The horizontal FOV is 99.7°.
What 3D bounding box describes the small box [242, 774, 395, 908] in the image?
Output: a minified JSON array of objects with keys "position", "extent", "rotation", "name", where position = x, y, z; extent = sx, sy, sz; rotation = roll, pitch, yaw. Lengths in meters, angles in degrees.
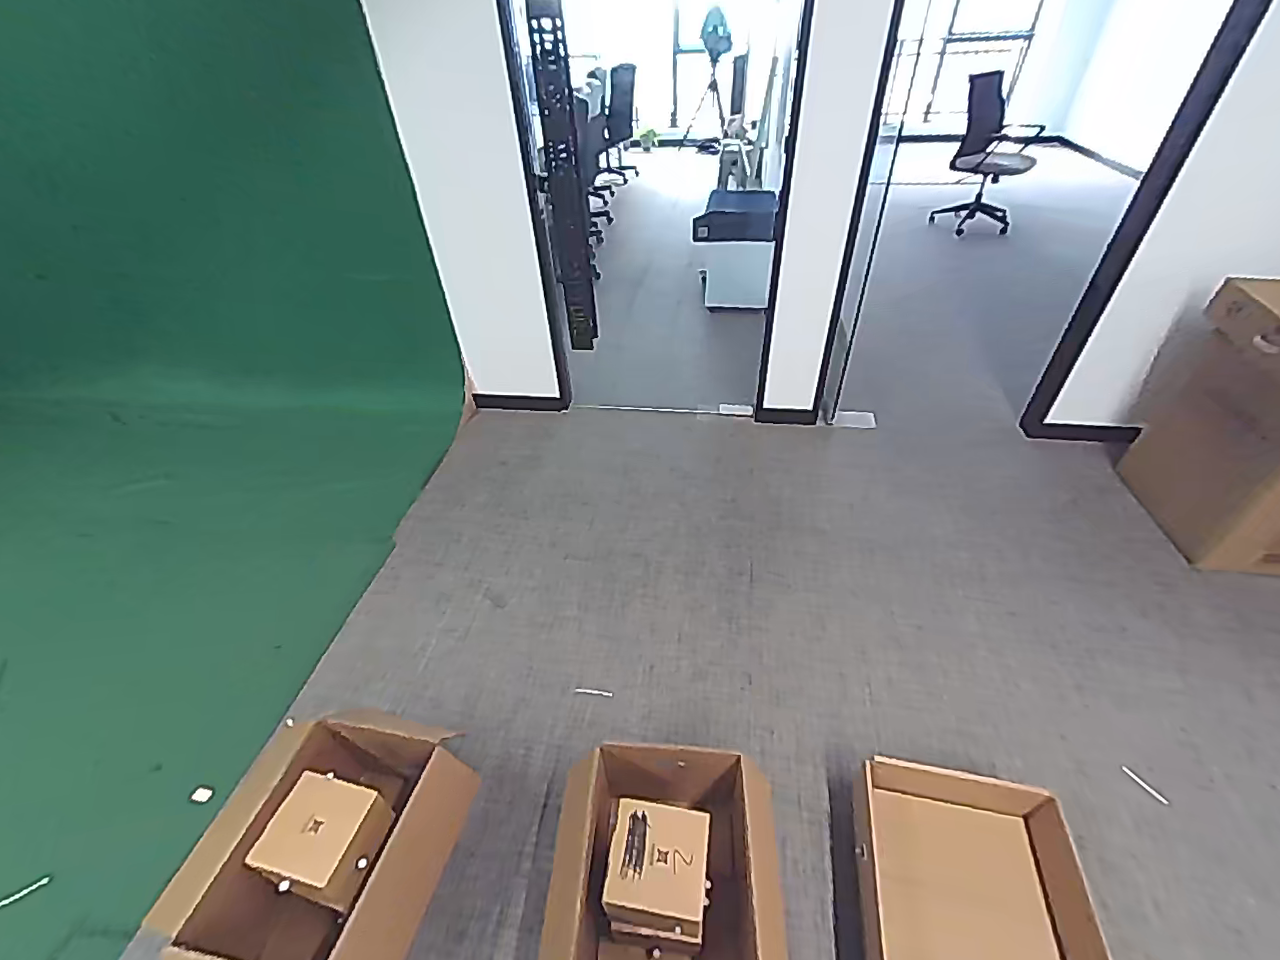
[{"position":[-0.627,0.724,1.082],"extent":[0.179,0.176,0.168],"rotation":[8,41,11],"name":"small box"}]
